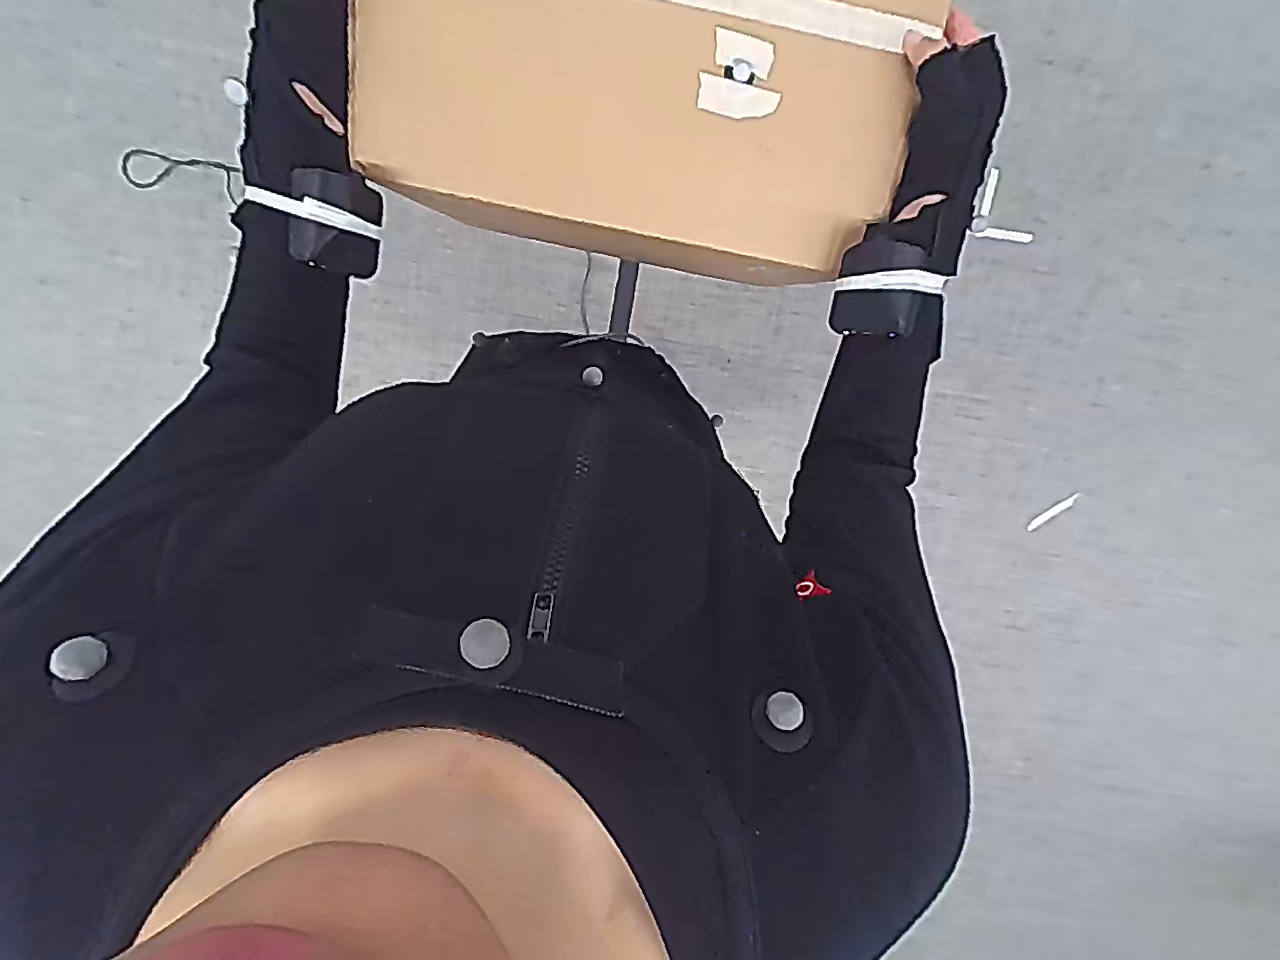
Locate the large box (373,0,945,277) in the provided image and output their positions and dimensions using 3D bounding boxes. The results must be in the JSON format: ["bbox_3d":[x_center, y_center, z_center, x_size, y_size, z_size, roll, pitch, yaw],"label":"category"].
[{"bbox_3d":[0.009,-0.393,0.519,0.408,0.320,0.320,9,109,-6],"label":"large box"}]
